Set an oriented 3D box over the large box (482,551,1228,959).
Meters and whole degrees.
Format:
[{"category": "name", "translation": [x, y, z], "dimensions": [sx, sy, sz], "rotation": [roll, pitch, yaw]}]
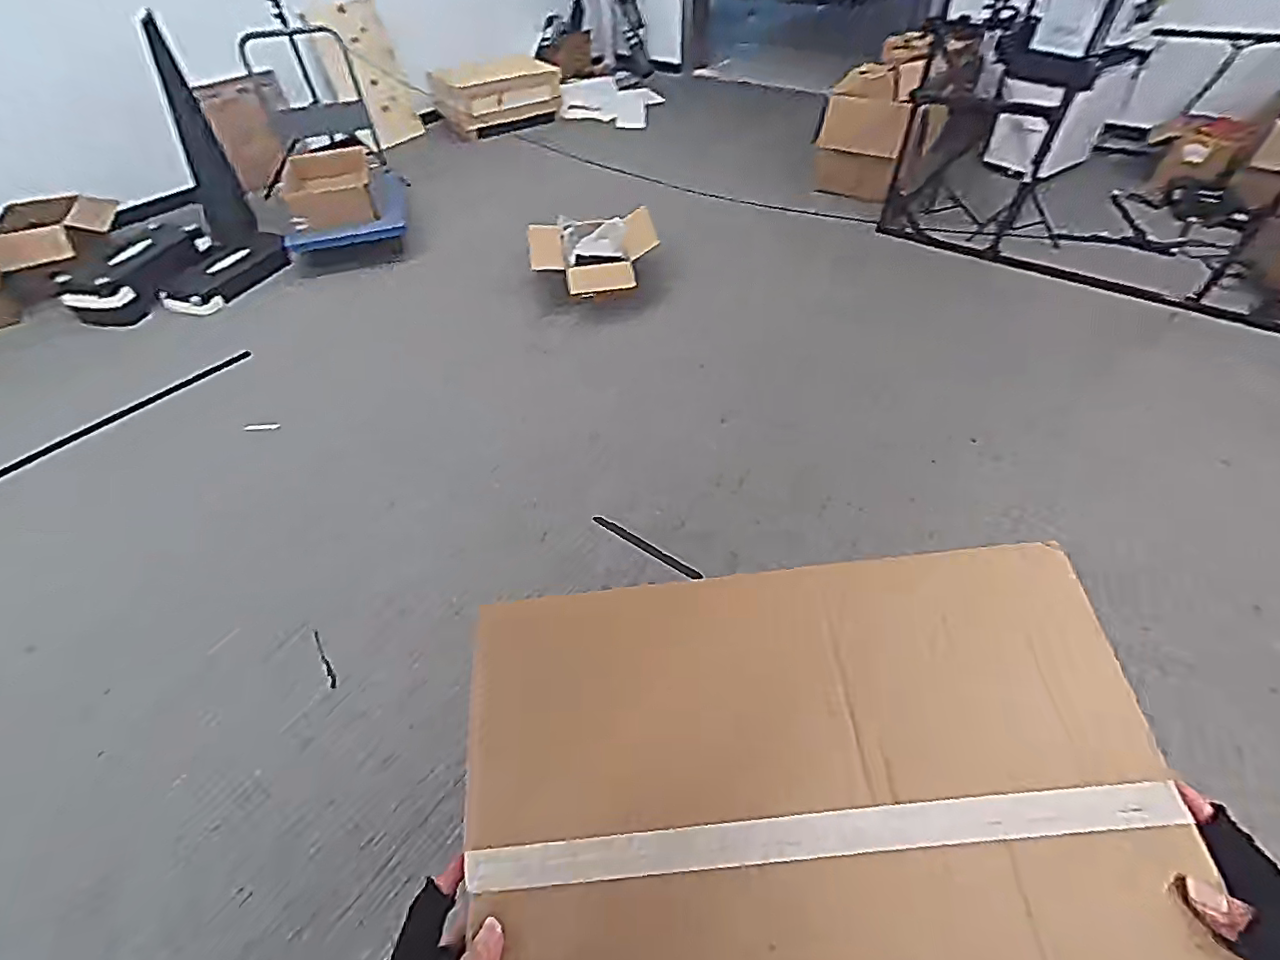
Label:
[{"category": "large box", "translation": [0.113, 0.279, 0.452], "dimensions": [0.408, 0.320, 0.320], "rotation": [-8, 64, 2]}]
